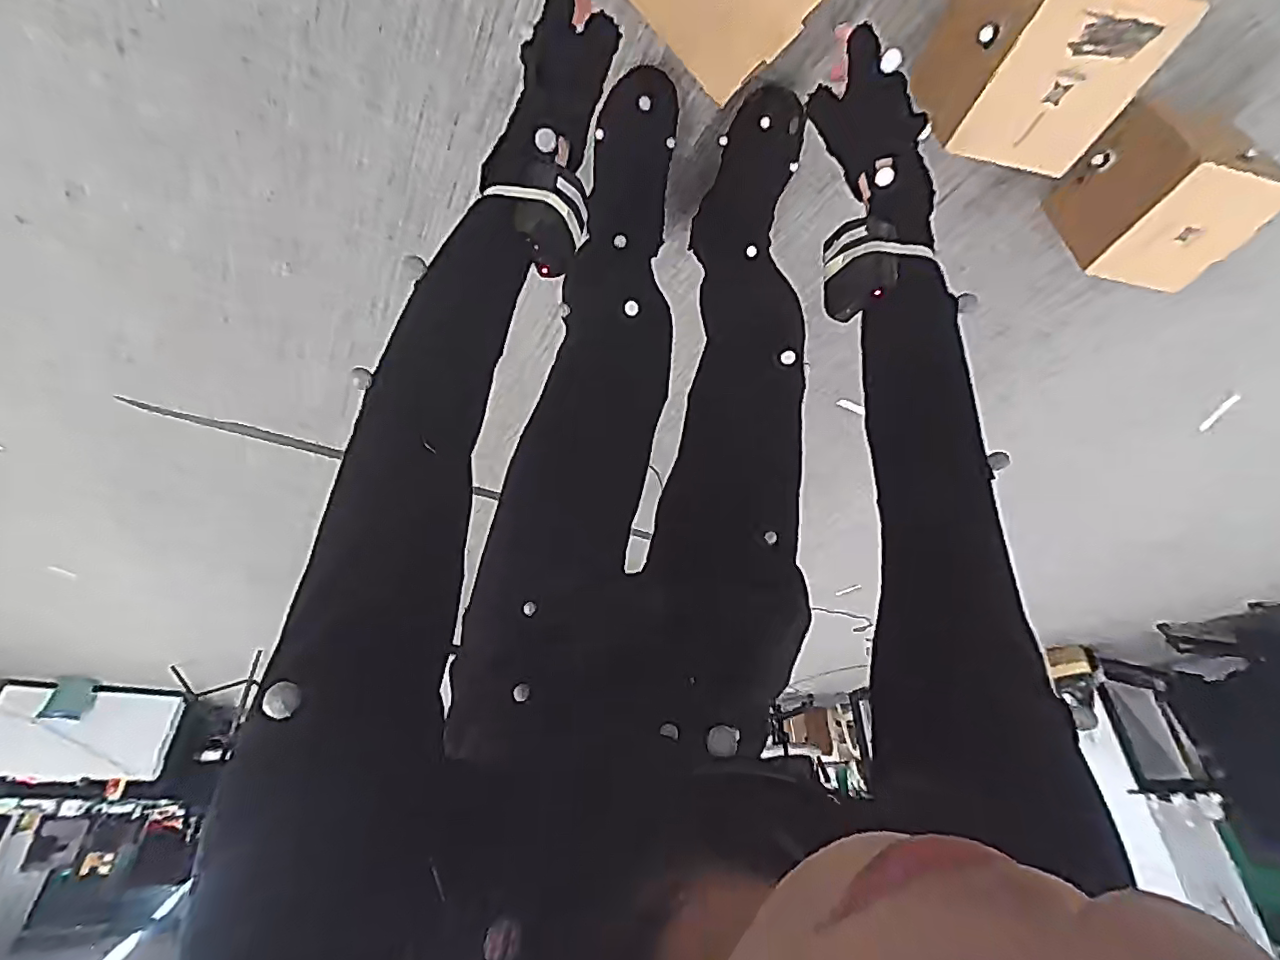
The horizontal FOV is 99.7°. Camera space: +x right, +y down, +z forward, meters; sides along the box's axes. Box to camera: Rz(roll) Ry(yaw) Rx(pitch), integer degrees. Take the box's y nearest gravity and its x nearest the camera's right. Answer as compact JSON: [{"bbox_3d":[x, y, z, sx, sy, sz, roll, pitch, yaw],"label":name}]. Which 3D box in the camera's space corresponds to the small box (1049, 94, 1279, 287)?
[{"bbox_3d":[0.741,-0.406,0.763,0.179,0.176,0.168,7,147,-10],"label":"small box"}]

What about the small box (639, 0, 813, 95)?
[{"bbox_3d":[0.081,-0.548,0.533,0.179,0.176,0.168,26,139,-36],"label":"small box"}]

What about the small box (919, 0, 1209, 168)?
[{"bbox_3d":[0.451,-0.497,0.610,0.168,0.176,0.179,6,148,-9],"label":"small box"}]
